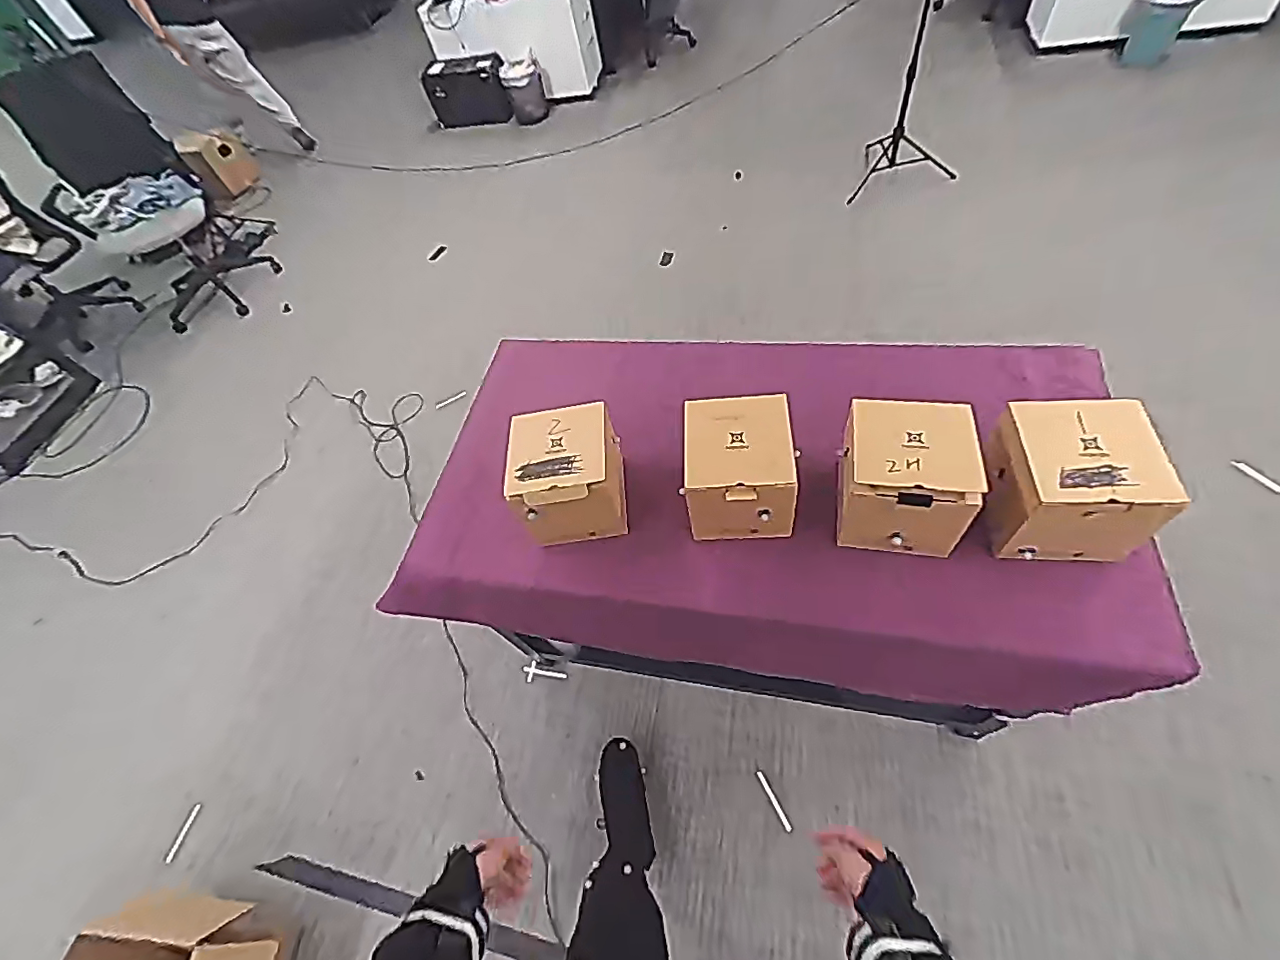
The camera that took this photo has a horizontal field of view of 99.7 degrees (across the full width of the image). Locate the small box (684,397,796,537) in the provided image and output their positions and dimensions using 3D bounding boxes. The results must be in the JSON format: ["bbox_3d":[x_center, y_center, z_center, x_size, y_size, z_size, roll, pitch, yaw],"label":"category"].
[{"bbox_3d":[0.164,-0.014,0.898,0.168,0.176,0.179,-2,56,9],"label":"small box"}]

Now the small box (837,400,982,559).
[{"bbox_3d":[0.403,0.001,0.838,0.168,0.176,0.179,6,58,15],"label":"small box"}]

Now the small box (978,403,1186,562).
[{"bbox_3d":[0.618,0.008,0.791,0.168,0.176,0.179,1,56,12],"label":"small box"}]
